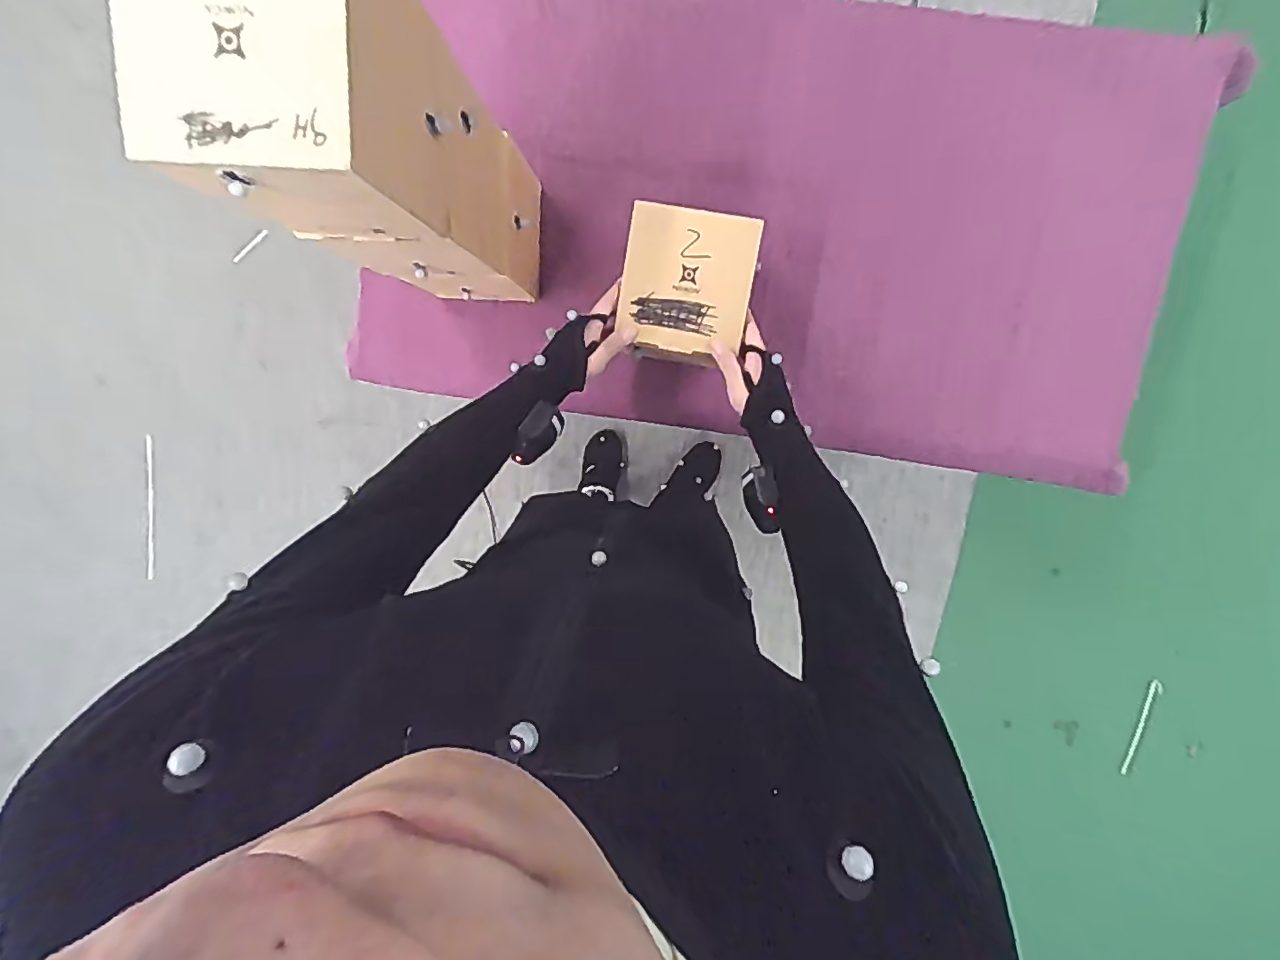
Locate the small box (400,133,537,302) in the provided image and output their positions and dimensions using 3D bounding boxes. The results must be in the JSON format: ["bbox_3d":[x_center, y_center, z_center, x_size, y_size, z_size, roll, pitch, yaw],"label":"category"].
[{"bbox_3d":[-0.246,-0.360,0.763,0.168,0.176,0.179,3,99,3],"label":"small box"}]

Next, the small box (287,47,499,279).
[{"bbox_3d":[-0.262,-0.336,0.601,0.168,0.176,0.179,2,99,3],"label":"small box"}]

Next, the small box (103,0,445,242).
[{"bbox_3d":[-0.271,-0.314,0.439,0.168,0.176,0.179,4,98,3],"label":"small box"}]
